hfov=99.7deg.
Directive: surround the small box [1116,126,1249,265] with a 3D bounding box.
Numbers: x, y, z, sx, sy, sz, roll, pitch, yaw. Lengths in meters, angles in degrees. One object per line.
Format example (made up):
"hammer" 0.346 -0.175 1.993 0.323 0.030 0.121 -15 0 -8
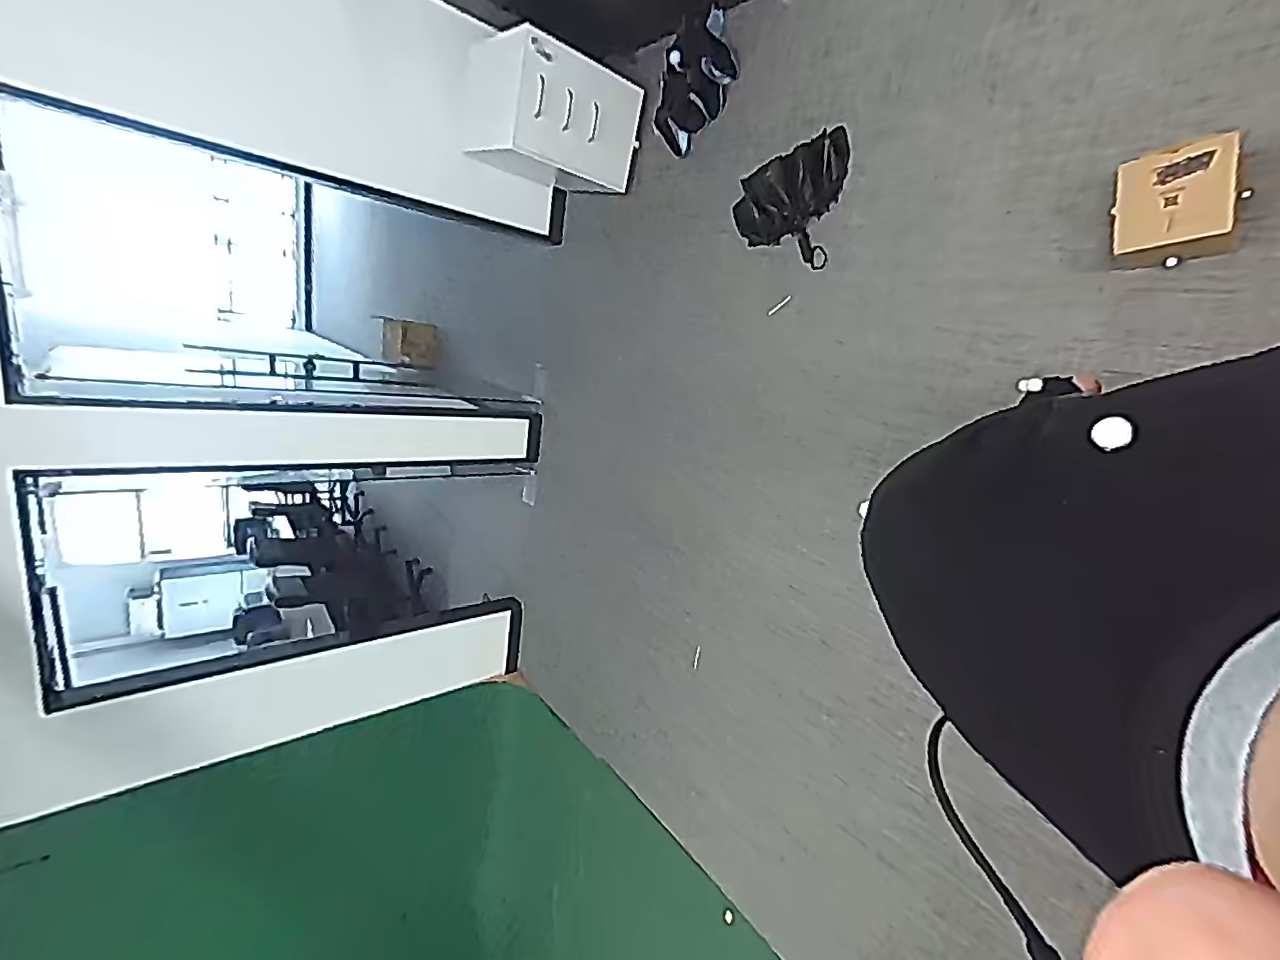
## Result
"small box" 1.064 -0.543 1.060 0.168 0.176 0.179 6 98 50
